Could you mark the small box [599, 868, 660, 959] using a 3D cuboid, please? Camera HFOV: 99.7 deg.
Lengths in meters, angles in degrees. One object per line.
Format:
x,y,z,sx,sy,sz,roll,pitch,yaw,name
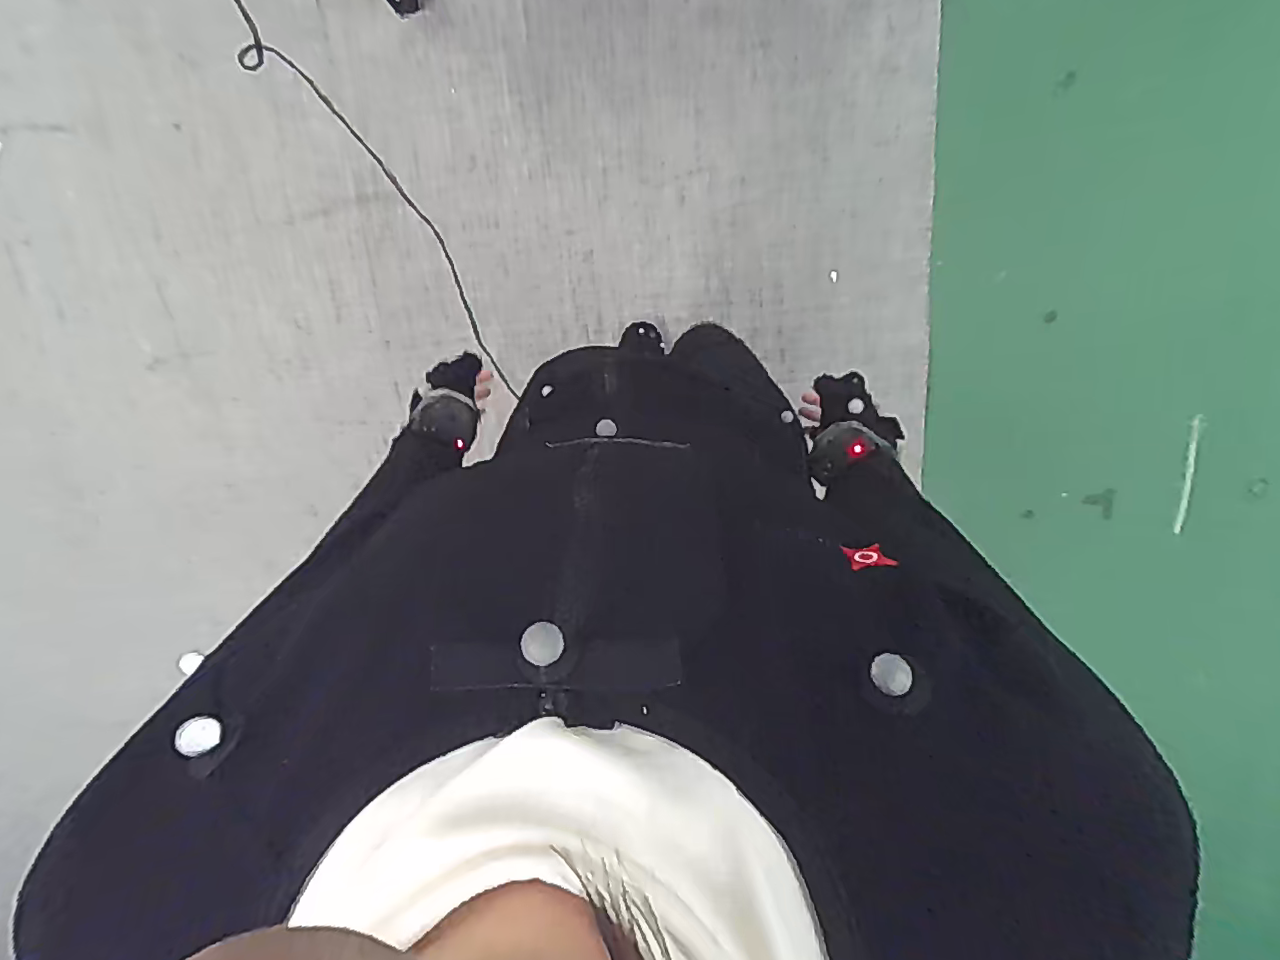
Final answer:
-0.028,1.392,1.742,0.179,0.176,0.168,-6,106,3,small box
